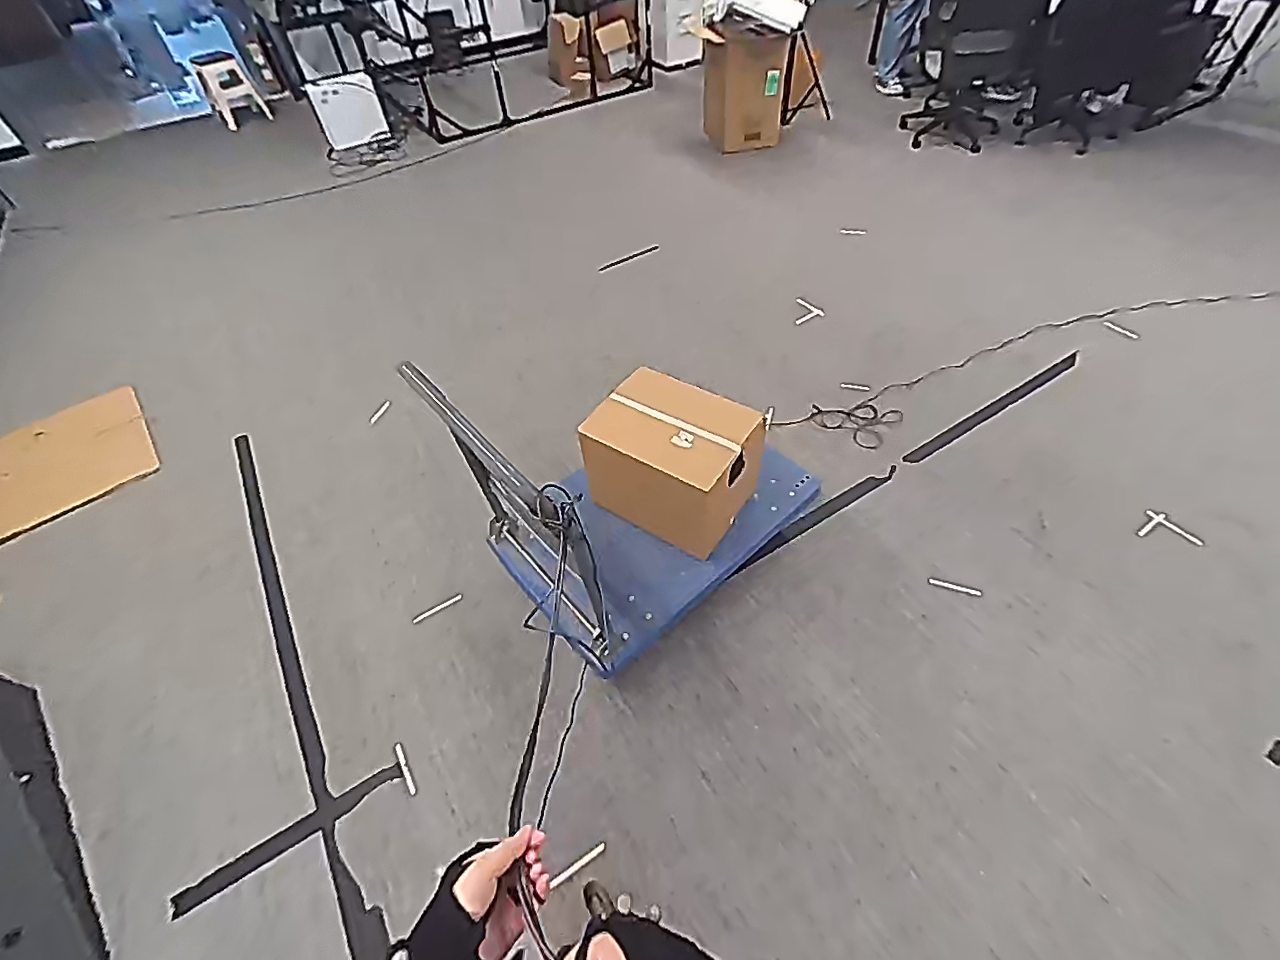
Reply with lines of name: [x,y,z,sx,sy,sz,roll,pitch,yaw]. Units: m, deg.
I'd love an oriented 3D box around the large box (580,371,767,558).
large box: [0.093,-0.048,1.535,0.408,0.320,0.320,27,57,23]
